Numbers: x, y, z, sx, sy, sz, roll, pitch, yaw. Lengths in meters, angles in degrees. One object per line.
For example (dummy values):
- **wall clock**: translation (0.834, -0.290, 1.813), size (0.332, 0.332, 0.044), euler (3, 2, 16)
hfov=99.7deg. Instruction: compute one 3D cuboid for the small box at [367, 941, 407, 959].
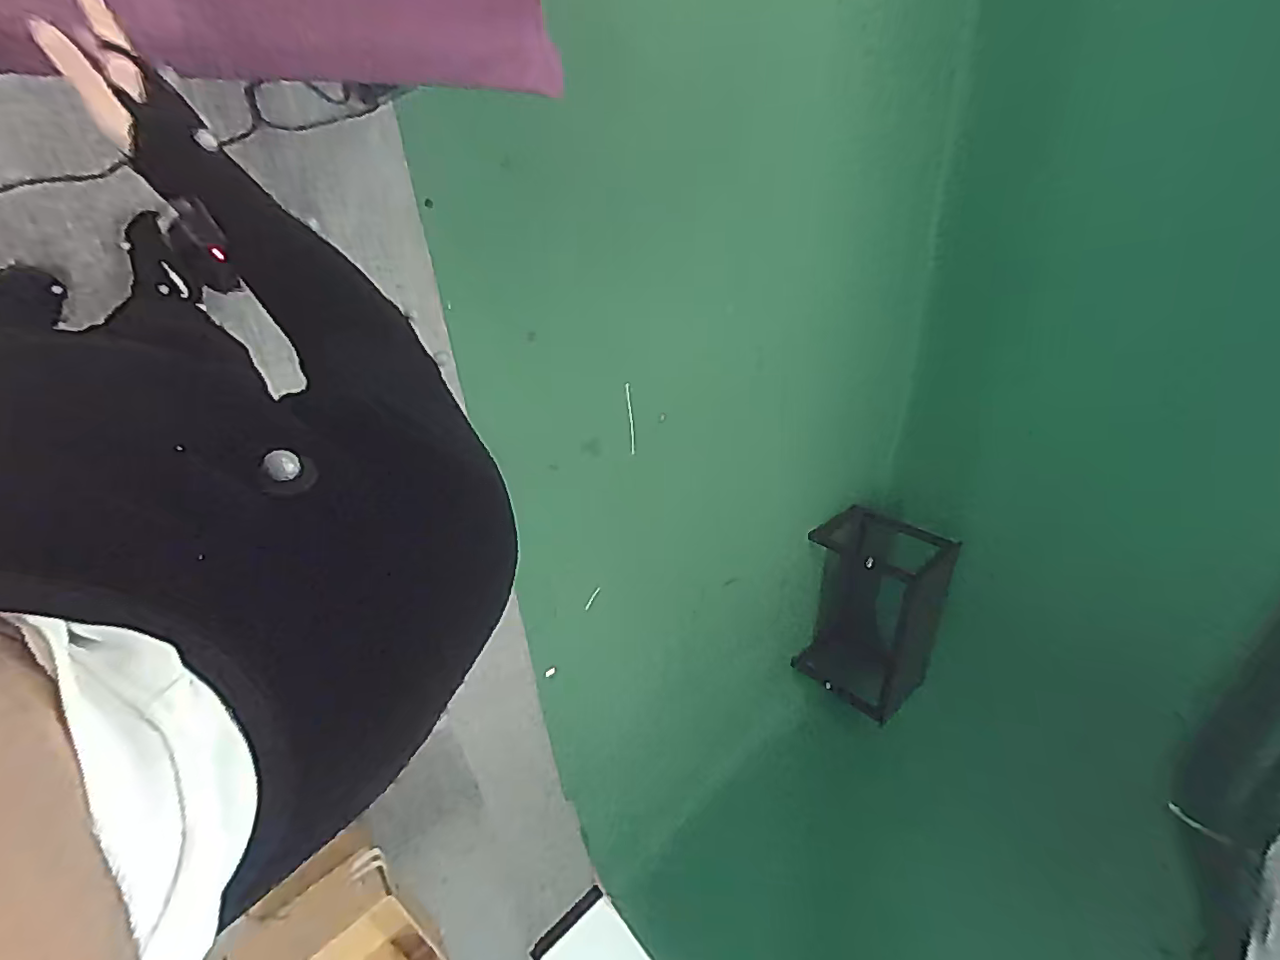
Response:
- **small box**: translation (-0.795, 1.577, 1.654), size (0.179, 0.176, 0.168), euler (-33, 130, -29)
